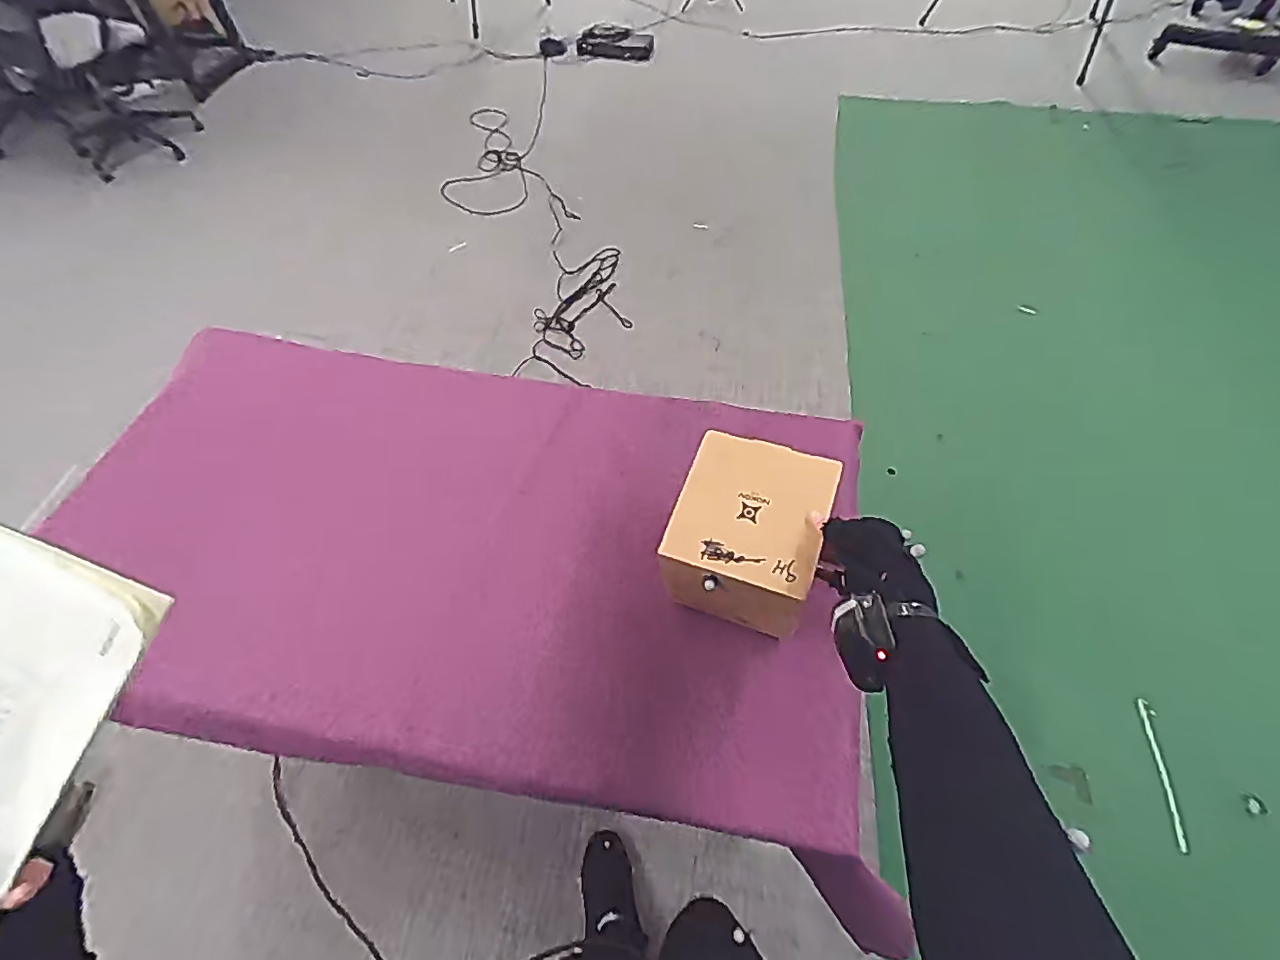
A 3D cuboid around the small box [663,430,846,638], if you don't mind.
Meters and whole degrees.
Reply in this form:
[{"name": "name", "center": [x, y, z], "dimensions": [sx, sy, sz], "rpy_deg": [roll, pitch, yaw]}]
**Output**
[{"name": "small box", "center": [0.139, 0.071, 0.673], "dimensions": [0.168, 0.176, 0.179], "rpy_deg": [17, 64, 17]}]
